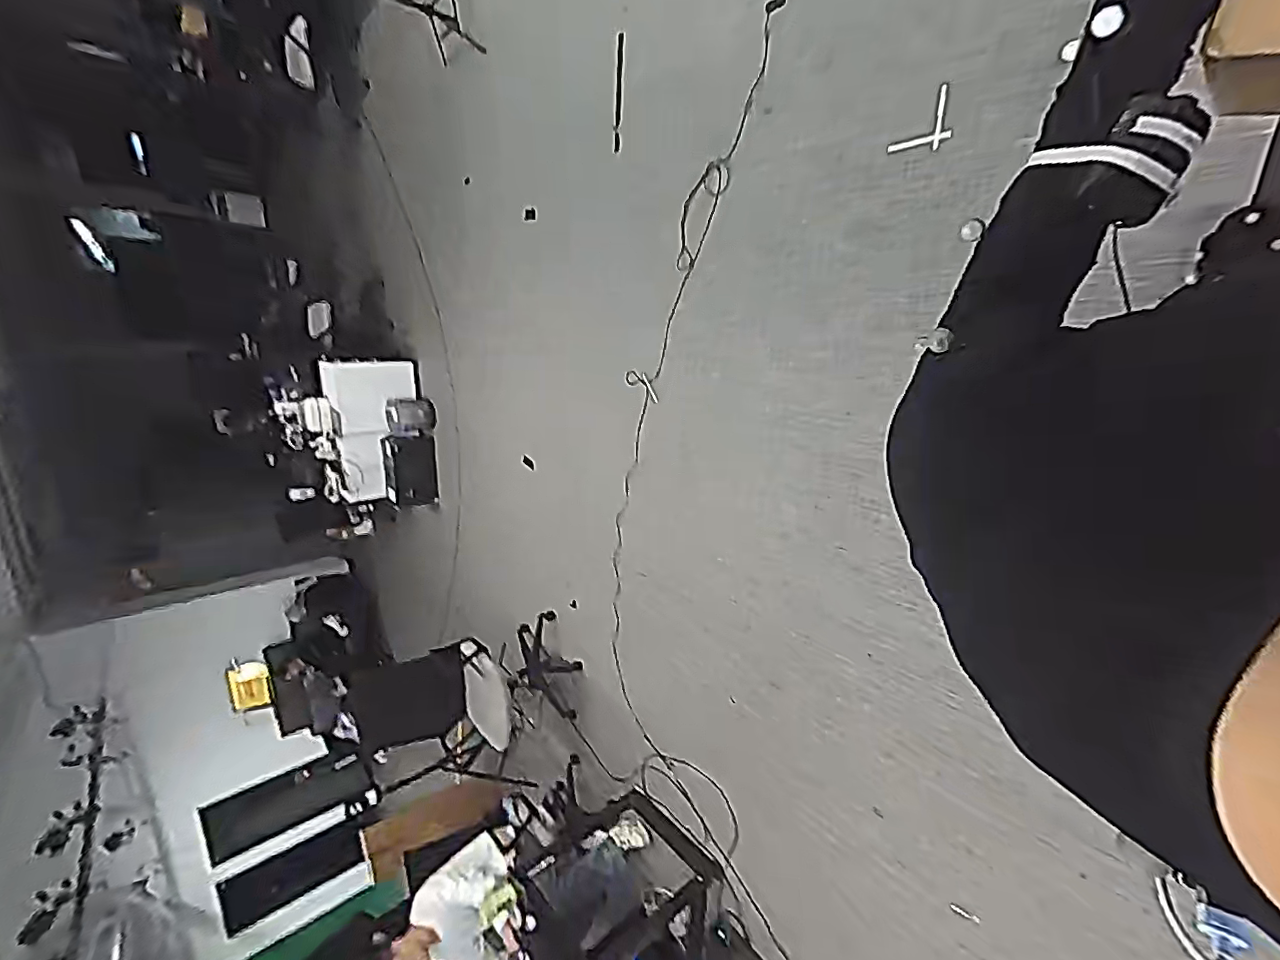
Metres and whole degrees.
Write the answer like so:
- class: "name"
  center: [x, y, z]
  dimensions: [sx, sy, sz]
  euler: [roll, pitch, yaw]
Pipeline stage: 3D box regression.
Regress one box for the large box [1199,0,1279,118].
- class: "large box"
  center: [0.596, -0.388, 0.252]
  dimensions: [0.408, 0.320, 0.320]
  euler: [24, 125, 38]
